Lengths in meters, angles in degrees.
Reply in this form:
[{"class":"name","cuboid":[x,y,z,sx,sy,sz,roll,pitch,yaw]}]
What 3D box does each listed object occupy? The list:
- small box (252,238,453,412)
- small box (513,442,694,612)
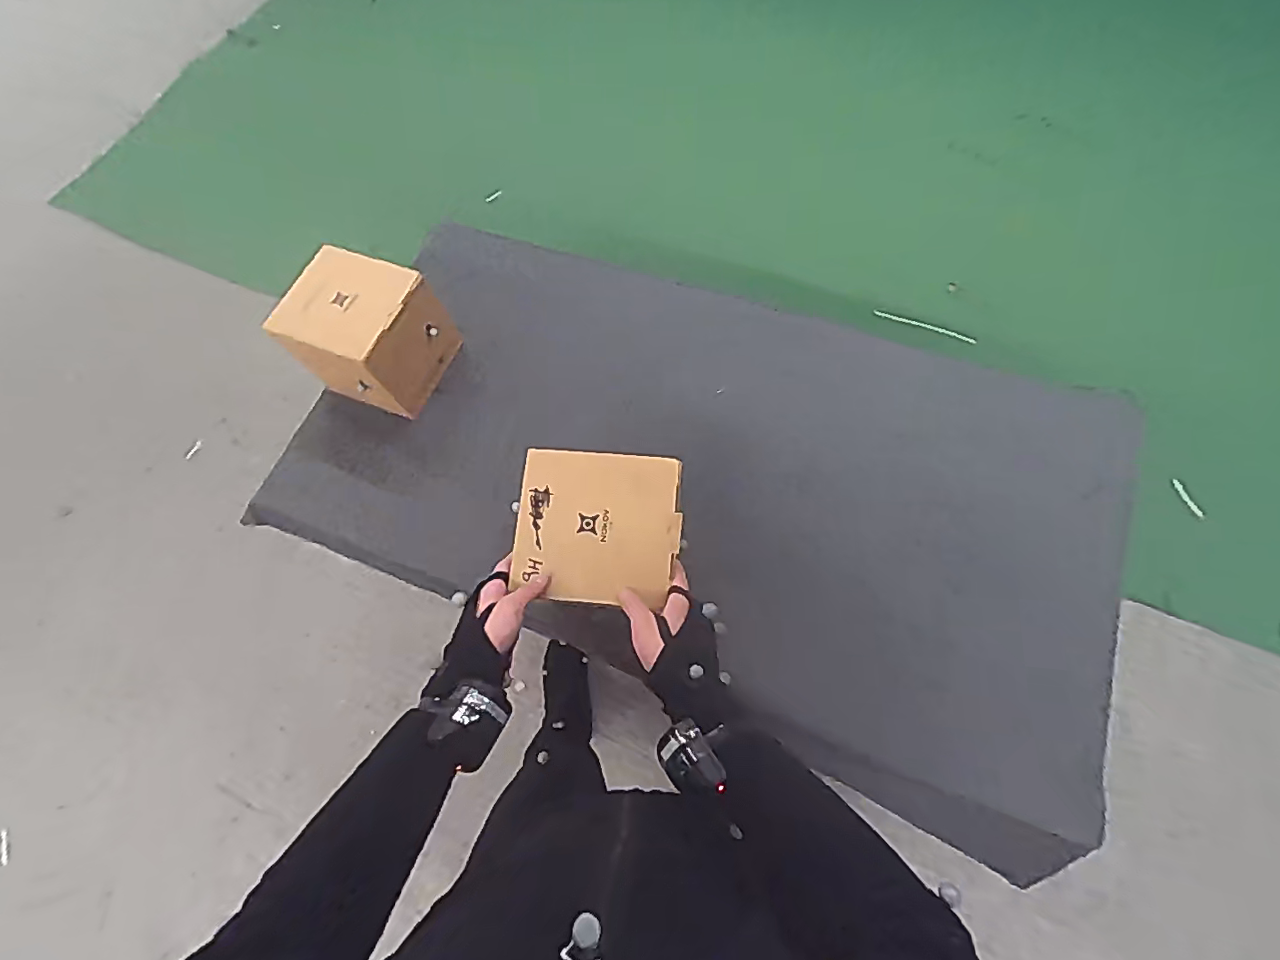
[{"class":"small box","cuboid":[-0.415,-0.225,0.819,0.179,0.176,0.168,19,67,10]},{"class":"small box","cuboid":[-0.037,0.066,0.649,0.179,0.176,0.168,6,74,1]}]
